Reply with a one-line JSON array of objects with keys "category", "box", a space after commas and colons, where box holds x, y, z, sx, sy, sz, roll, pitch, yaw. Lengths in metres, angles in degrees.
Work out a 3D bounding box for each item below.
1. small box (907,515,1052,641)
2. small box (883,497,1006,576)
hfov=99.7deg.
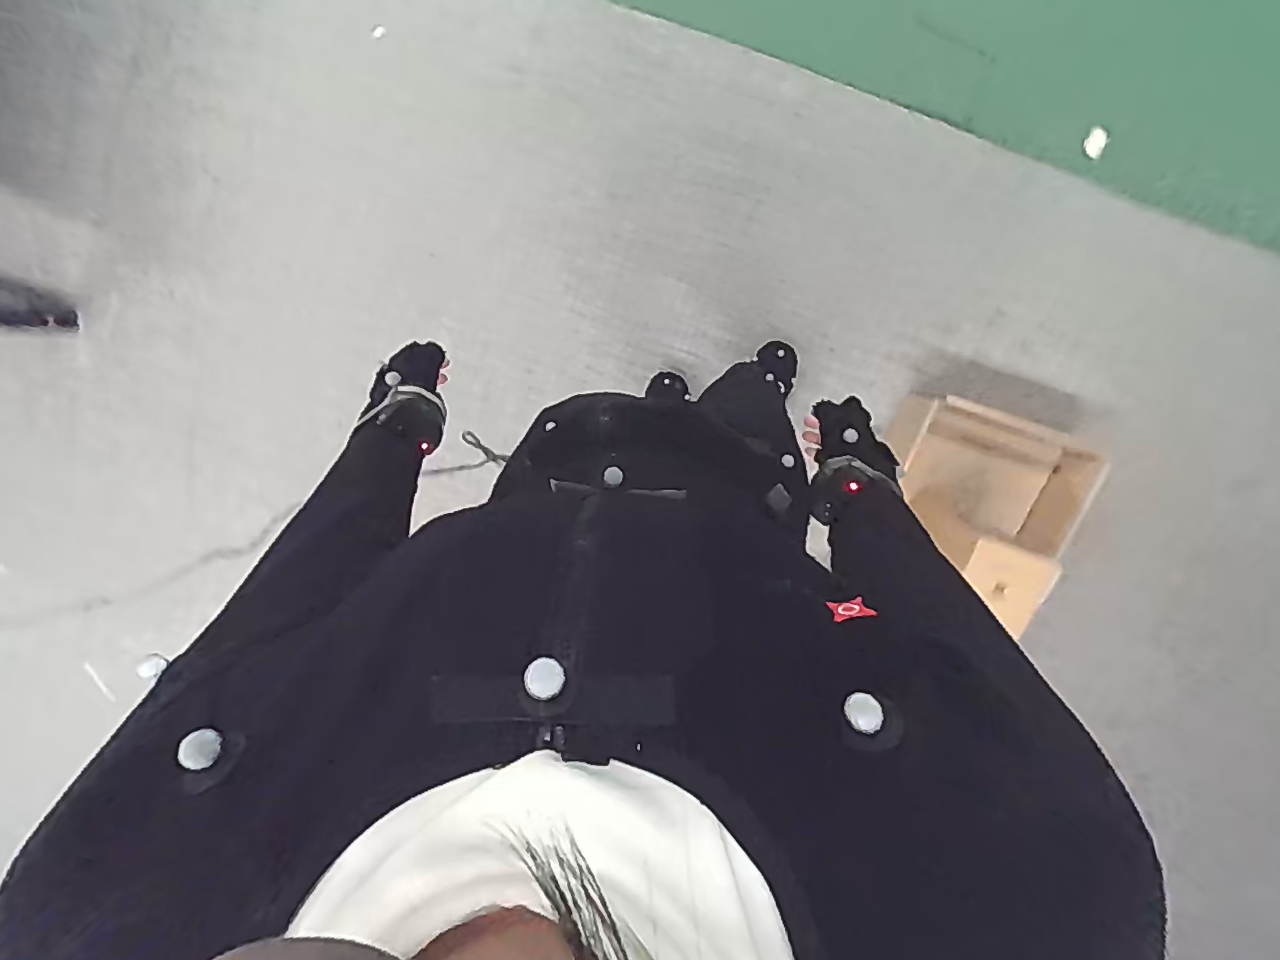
[{"category": "small box", "box": [0.680, 0.194, 1.112, 0.168, 0.176, 0.179, 16, 104, 0]}, {"category": "small box", "box": [0.711, 0.156, 1.287, 0.168, 0.176, 0.179, 18, 103, -1]}]
